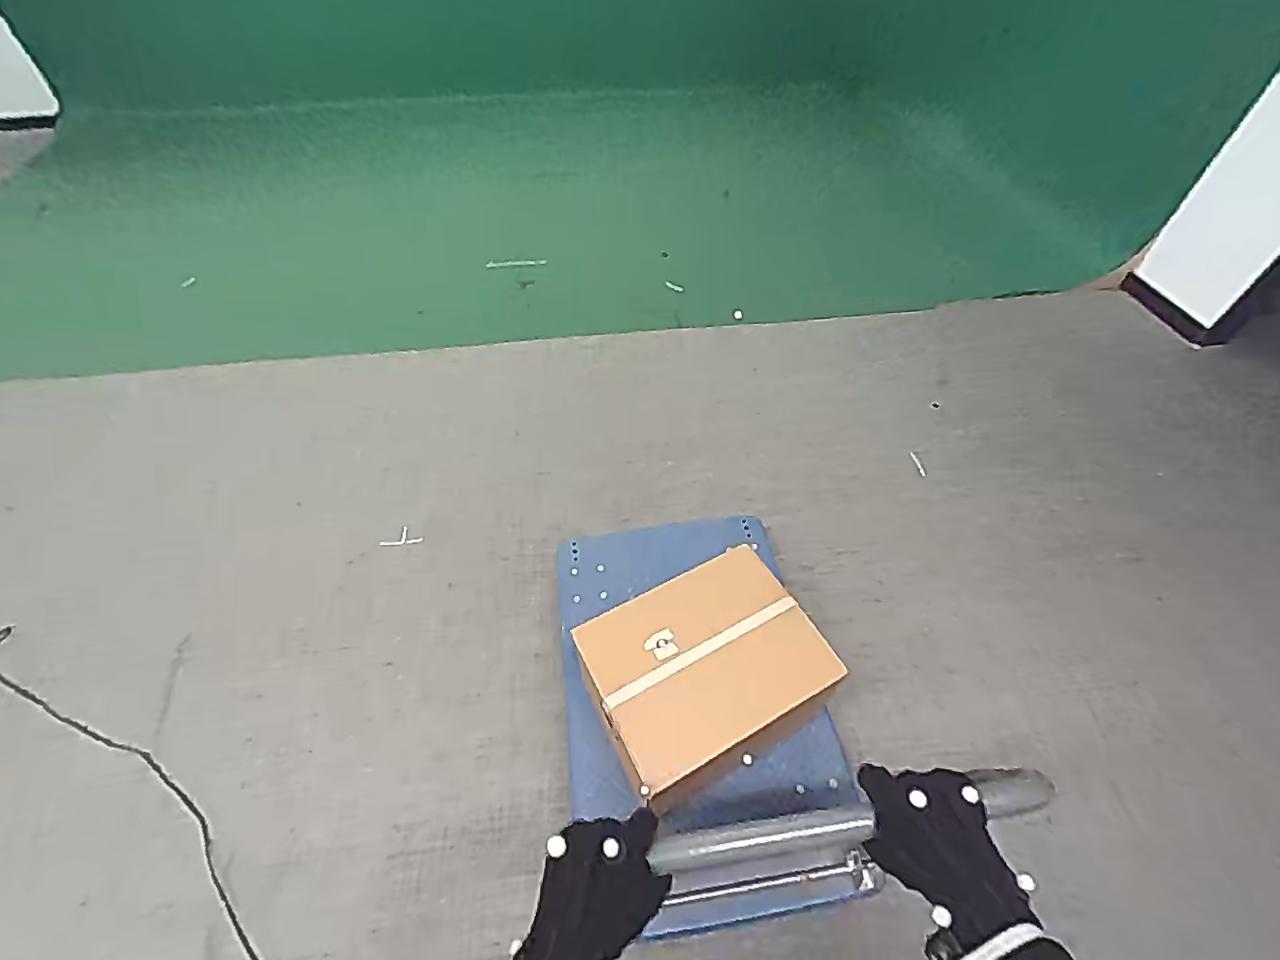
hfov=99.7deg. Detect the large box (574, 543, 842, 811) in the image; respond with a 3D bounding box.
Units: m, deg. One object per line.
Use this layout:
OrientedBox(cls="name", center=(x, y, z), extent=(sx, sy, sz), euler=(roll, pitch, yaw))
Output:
OrientedBox(cls="large box", center=(0.122, 0.399, 1.102), extent=(0.408, 0.320, 0.320), euler=(-23, 55, -16))
